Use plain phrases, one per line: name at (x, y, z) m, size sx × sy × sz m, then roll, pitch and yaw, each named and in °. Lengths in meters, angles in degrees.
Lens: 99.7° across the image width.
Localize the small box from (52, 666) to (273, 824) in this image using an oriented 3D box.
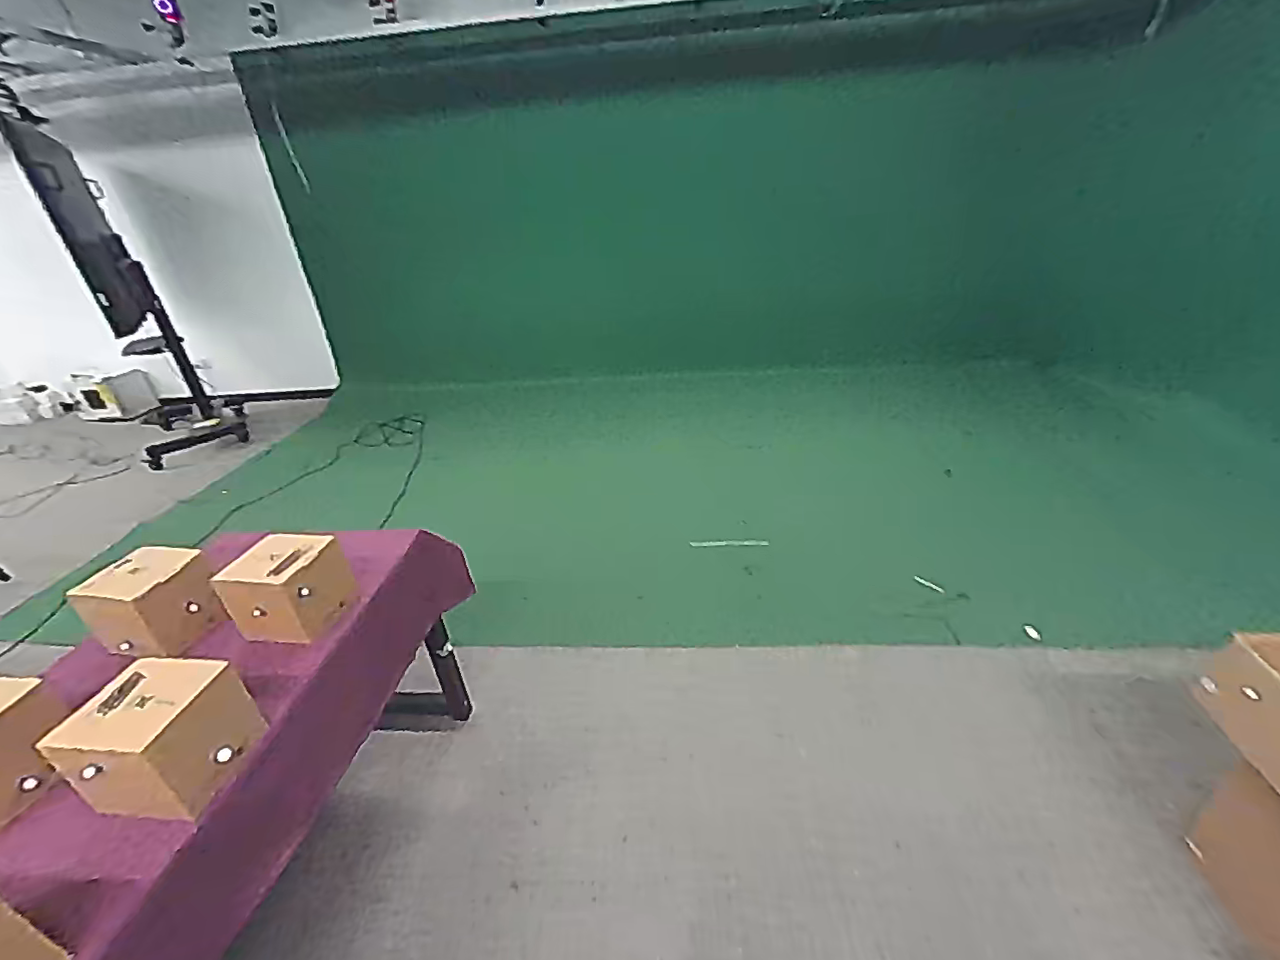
small box at (-0.754, 0.426, 0.877) m, size 0.179 × 0.176 × 0.168 m, roll -1°, pitch 29°, yaw 8°

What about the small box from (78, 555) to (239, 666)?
small box at (-1.042, 0.287, 1.191) m, size 0.179 × 0.176 × 0.168 m, roll 2°, pitch 29°, yaw 12°

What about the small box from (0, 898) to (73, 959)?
small box at (-0.806, 0.588, 0.591) m, size 0.179 × 0.176 × 0.168 m, roll -2°, pitch 28°, yaw 7°
